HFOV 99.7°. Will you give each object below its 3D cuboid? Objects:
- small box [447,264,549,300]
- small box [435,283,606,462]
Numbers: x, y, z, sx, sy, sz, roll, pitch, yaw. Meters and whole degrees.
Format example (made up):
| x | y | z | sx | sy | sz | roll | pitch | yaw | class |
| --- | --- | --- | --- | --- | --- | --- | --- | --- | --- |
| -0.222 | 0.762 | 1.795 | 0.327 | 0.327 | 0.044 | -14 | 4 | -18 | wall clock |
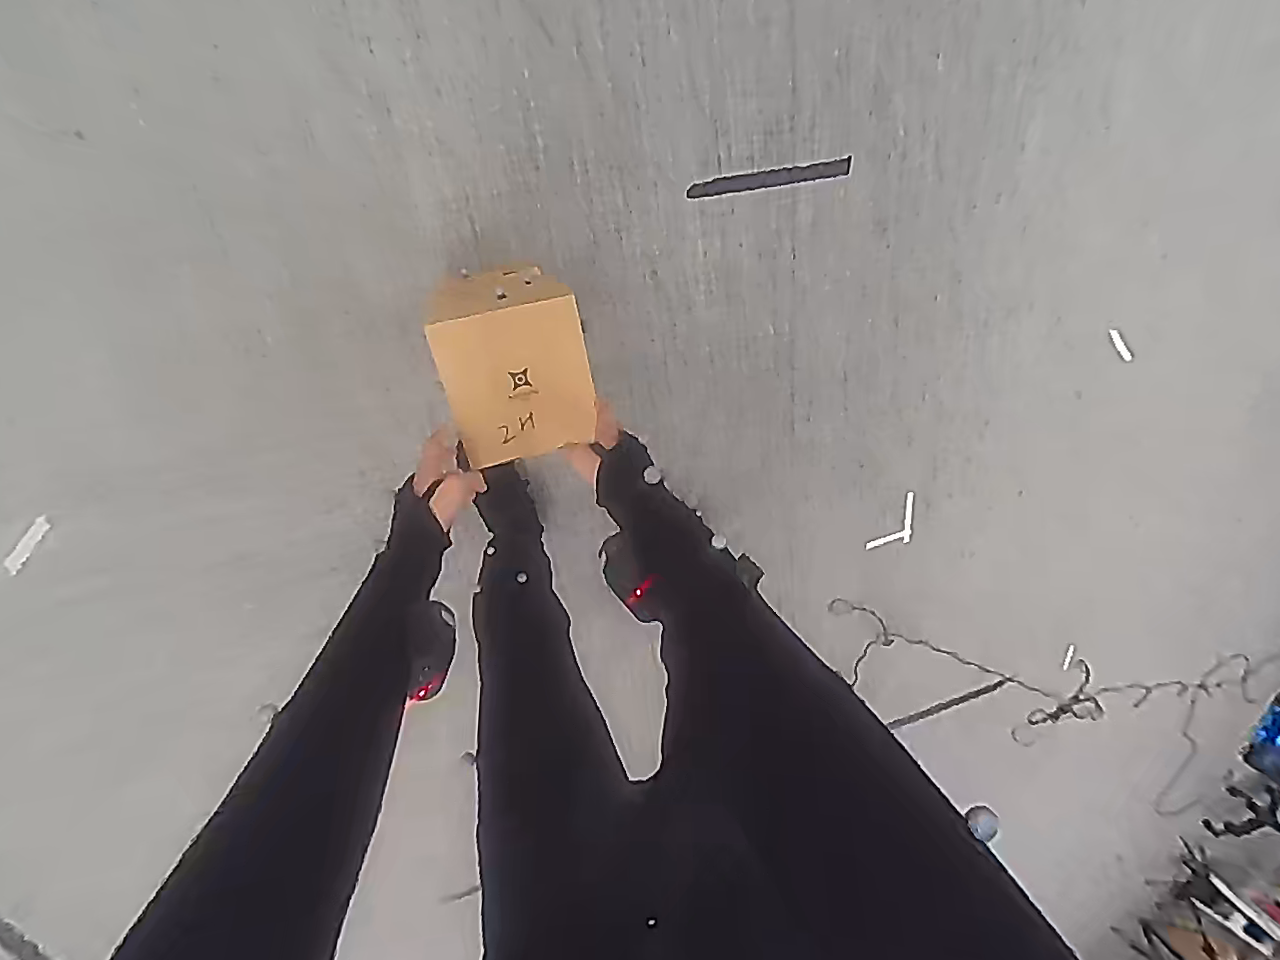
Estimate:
| x | y | z | sx | sy | sz | roll | pitch | yaw | class |
| --- | --- | --- | --- | --- | --- | --- | --- | --- | --- |
| -0.242 | -0.285 | 0.976 | 0.168 | 0.176 | 0.179 | -15 | 117 | -10 | small box |
| -0.152 | -0.149 | 0.692 | 0.168 | 0.176 | 0.179 | -15 | 118 | -10 | small box |
